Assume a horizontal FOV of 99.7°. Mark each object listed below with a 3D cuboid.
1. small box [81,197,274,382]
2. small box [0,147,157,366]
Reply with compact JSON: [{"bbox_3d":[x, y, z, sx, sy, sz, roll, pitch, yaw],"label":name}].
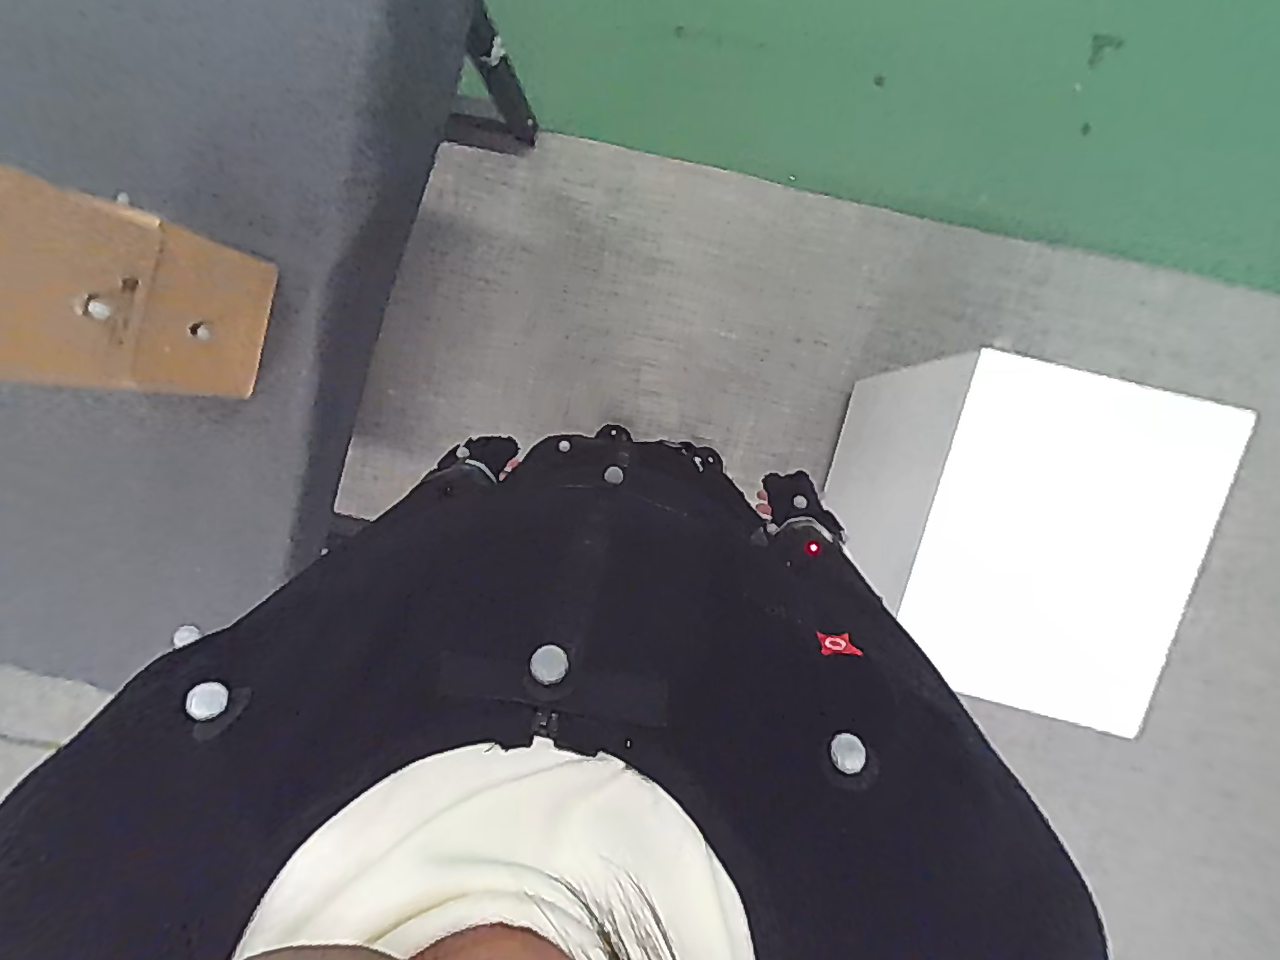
[{"bbox_3d":[-0.570,-0.220,0.629,0.168,0.176,0.179,17,97,2],"label":"small box"},{"bbox_3d":[-0.587,-0.205,0.466,0.179,0.176,0.168,17,97,4],"label":"small box"}]
